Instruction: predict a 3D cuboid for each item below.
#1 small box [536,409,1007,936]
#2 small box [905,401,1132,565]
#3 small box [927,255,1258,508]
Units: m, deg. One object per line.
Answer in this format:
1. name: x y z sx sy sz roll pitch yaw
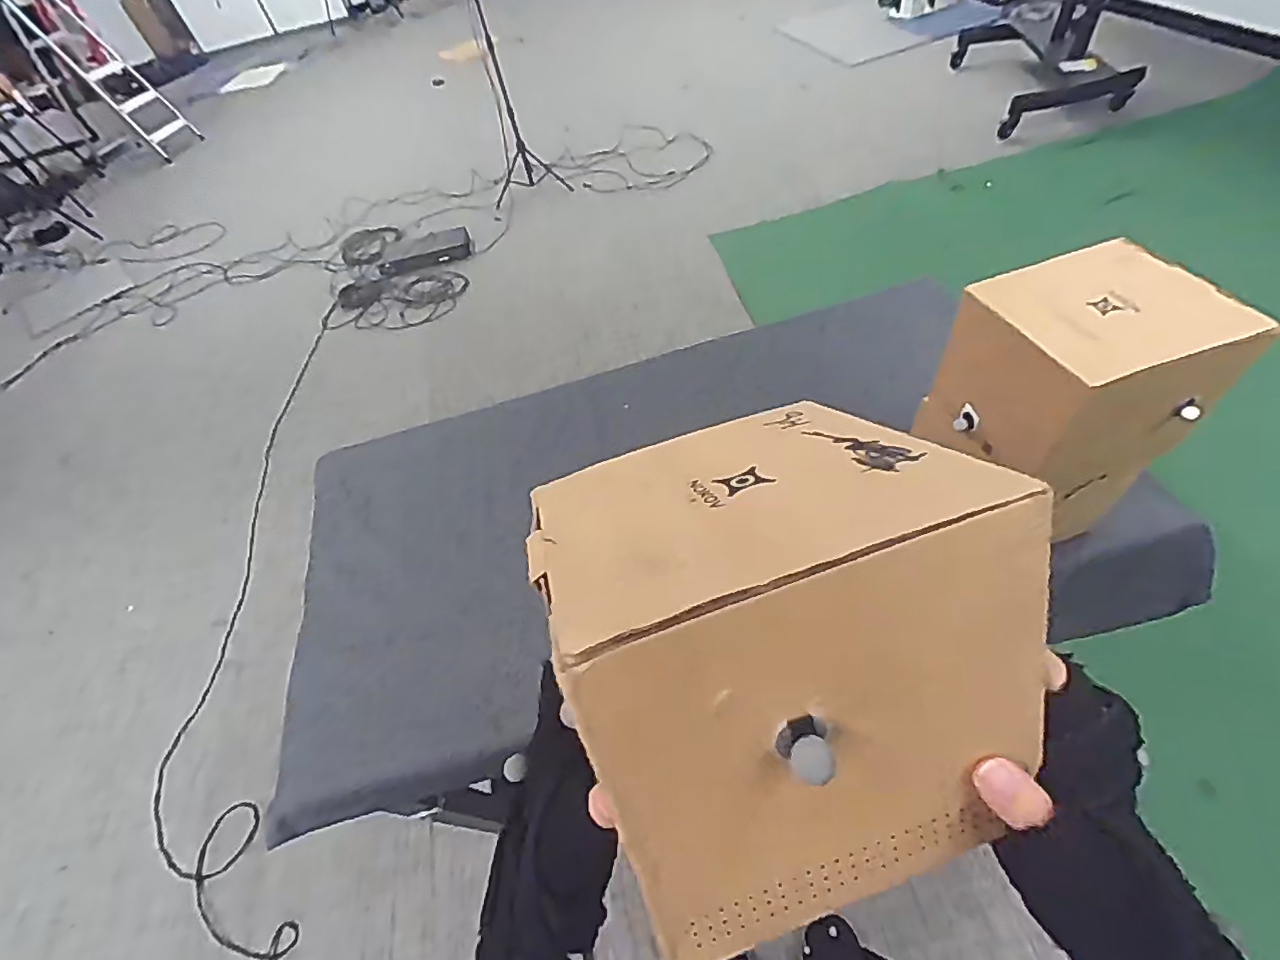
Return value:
1. small box: 0.057 0.079 0.284 0.179 0.176 0.168 -18 21 -8
2. small box: 0.465 -0.008 0.700 0.168 0.176 0.179 -20 50 -4
3. small box: 0.441 -0.100 0.569 0.179 0.176 0.168 -19 50 -2
